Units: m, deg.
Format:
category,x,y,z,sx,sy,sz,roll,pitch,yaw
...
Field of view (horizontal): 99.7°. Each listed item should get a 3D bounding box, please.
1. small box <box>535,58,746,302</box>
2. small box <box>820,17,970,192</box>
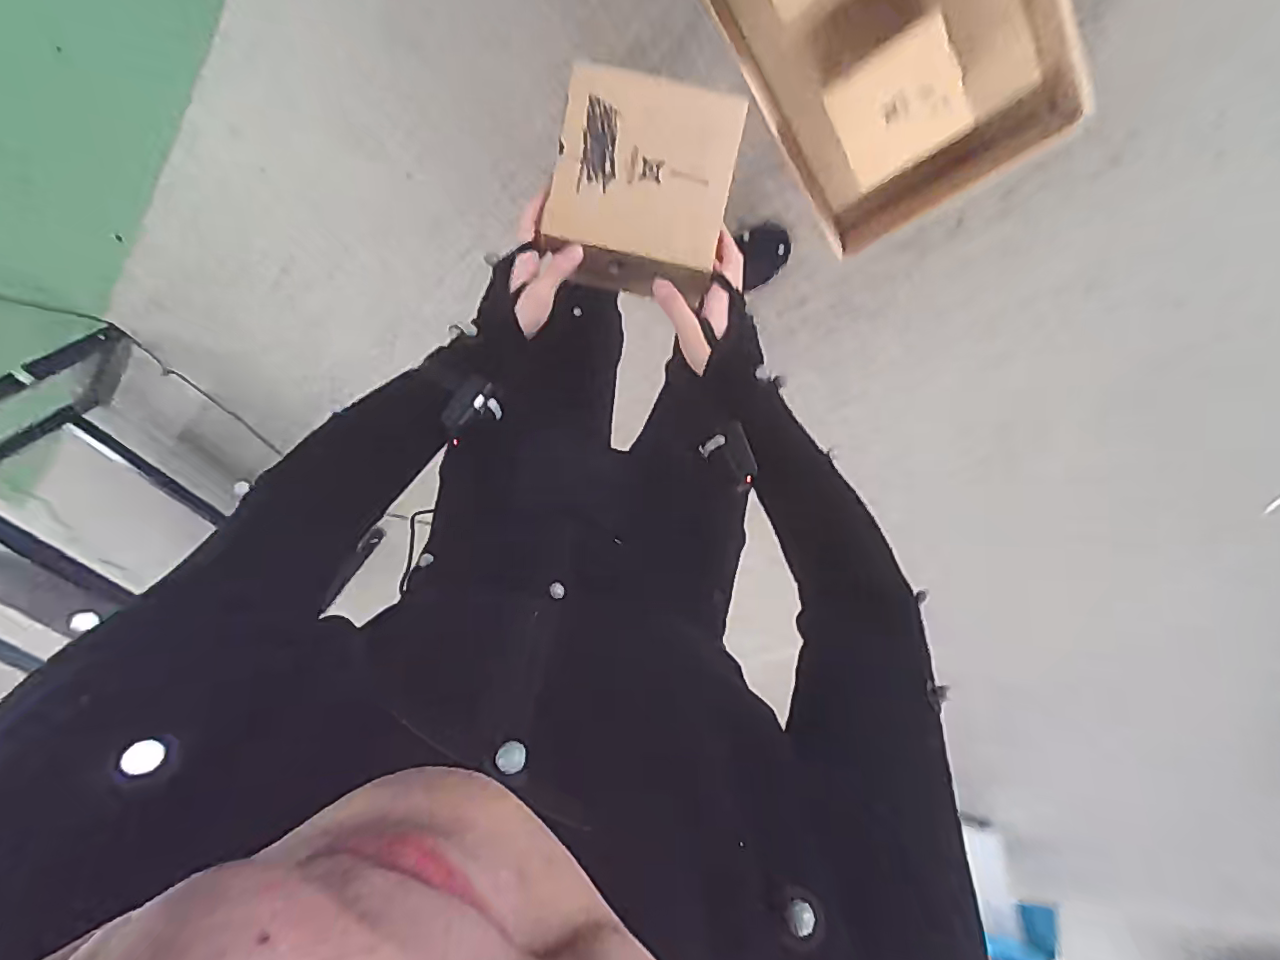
category,x,y,z,sx,sy,sz,roll,pitch,yaw
small box,0.000,-0.308,0.595,0.179,0.176,0.168,12,95,-1
small box,0.416,-0.621,0.899,0.179,0.176,0.168,-22,121,31
